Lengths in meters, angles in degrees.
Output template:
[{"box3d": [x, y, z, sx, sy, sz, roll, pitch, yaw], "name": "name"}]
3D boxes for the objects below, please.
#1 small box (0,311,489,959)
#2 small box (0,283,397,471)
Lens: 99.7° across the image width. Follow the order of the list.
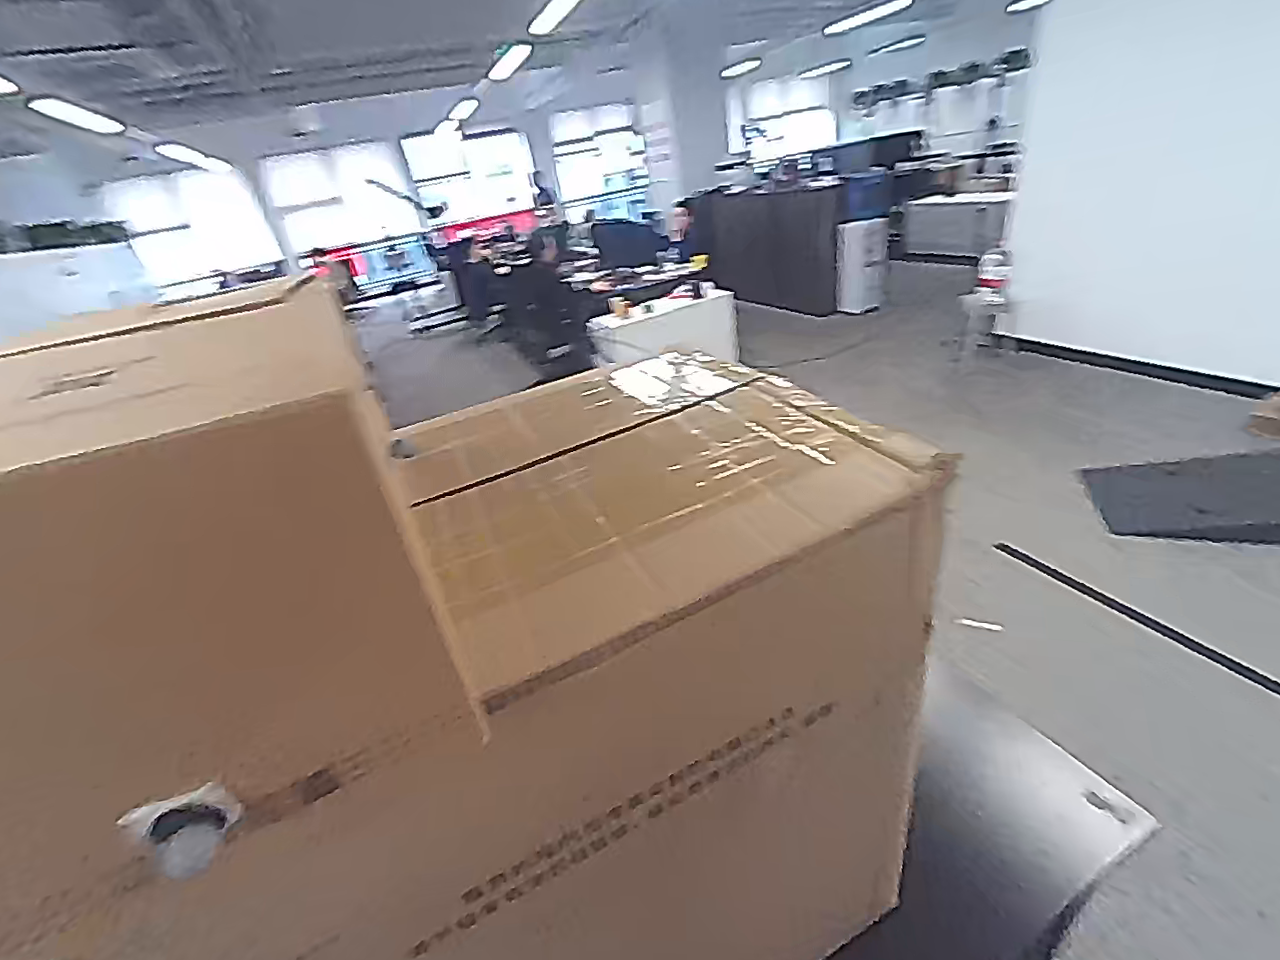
[{"box3d": [-0.184, 0.040, 0.234, 0.168, 0.176, 0.179, -23, 35, -22], "name": "small box"}, {"box3d": [-0.285, -0.030, 0.382, 0.168, 0.176, 0.179, -20, 30, -15], "name": "small box"}]
